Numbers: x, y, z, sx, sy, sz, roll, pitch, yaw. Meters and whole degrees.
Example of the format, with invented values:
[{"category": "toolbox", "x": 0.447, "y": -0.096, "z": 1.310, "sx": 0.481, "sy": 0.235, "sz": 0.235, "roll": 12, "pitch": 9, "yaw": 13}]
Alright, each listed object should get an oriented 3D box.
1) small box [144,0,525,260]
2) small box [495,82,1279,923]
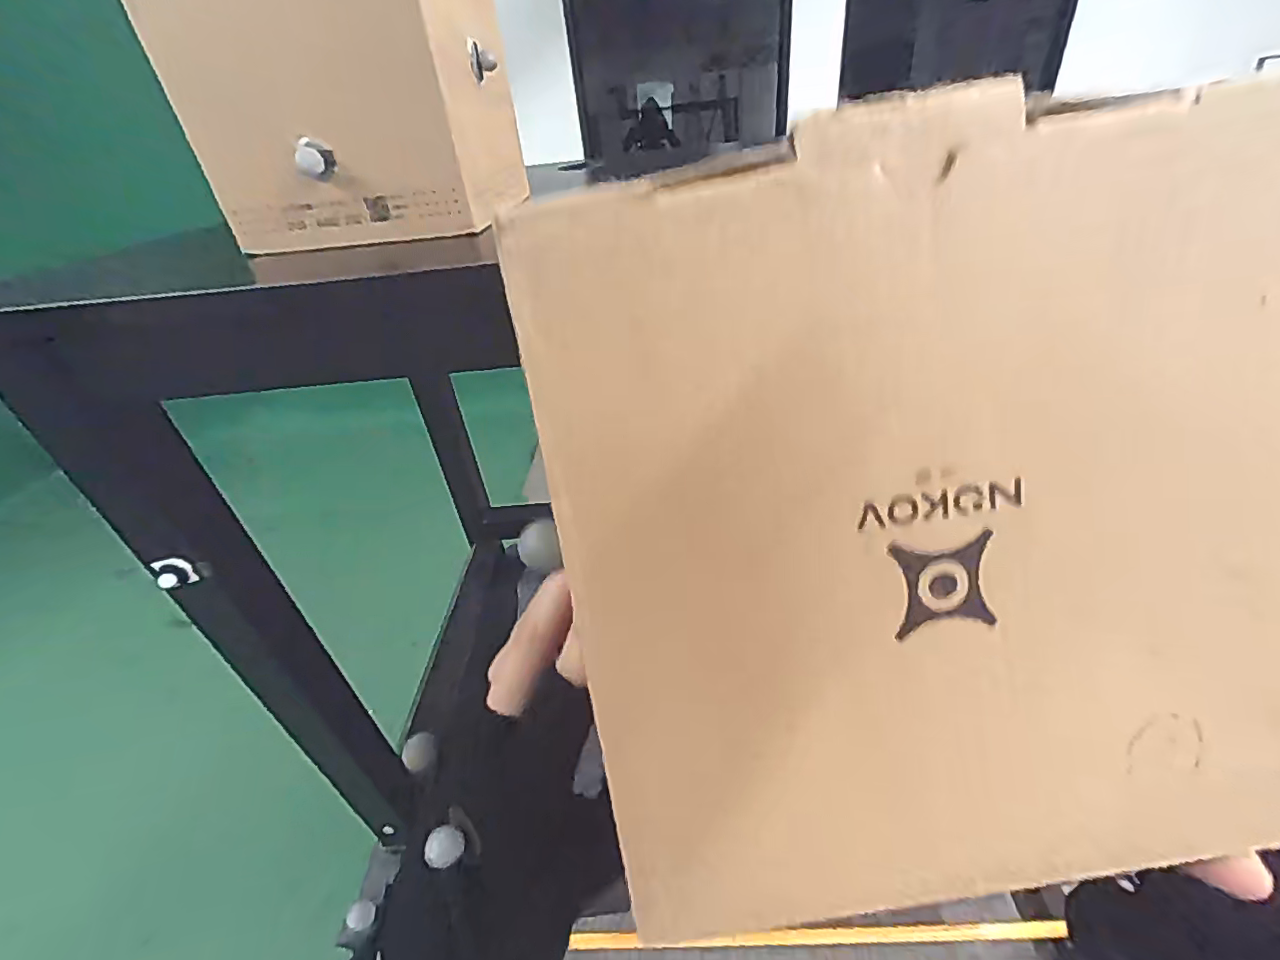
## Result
[{"category": "small box", "x": -0.189, "y": -0.266, "z": 0.386, "sx": 0.168, "sy": 0.176, "sz": 0.179, "roll": -4, "pitch": 35, "yaw": 5}, {"category": "small box", "x": 0.064, "y": 0.004, "z": 0.200, "sx": 0.168, "sy": 0.179, "sz": 0.176, "roll": -10, "pitch": 10, "yaw": 1}]
